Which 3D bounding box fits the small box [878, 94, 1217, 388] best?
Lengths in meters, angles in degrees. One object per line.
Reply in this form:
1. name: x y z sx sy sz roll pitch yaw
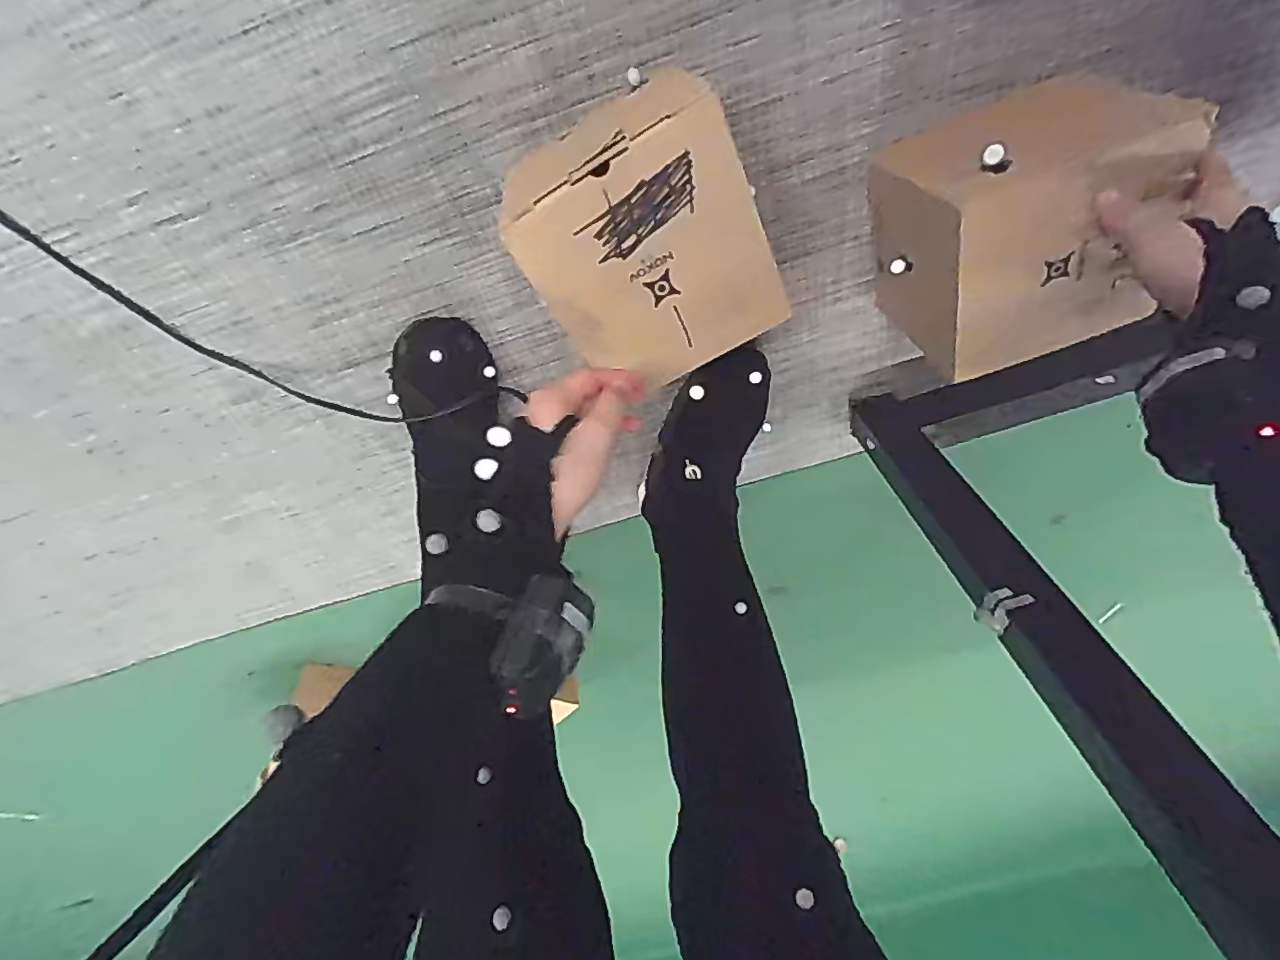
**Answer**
1. small box: 0.333 -0.218 0.493 0.179 0.176 0.168 -19 132 9
